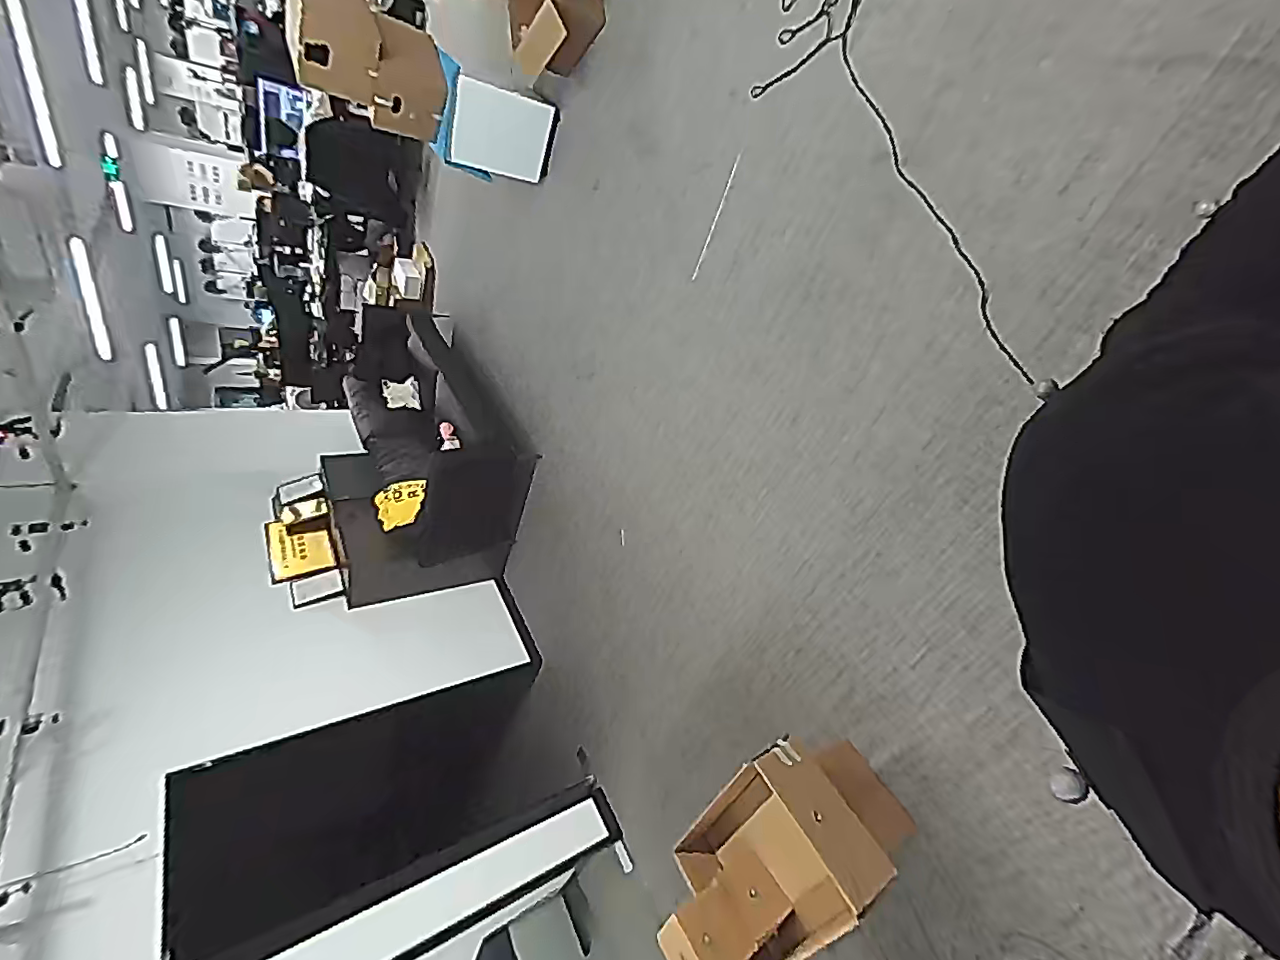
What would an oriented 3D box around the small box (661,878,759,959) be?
[{"bbox_3d":[0.191,1.240,1.484,0.179,0.176,0.168,45,129,39],"label":"small box"}]
